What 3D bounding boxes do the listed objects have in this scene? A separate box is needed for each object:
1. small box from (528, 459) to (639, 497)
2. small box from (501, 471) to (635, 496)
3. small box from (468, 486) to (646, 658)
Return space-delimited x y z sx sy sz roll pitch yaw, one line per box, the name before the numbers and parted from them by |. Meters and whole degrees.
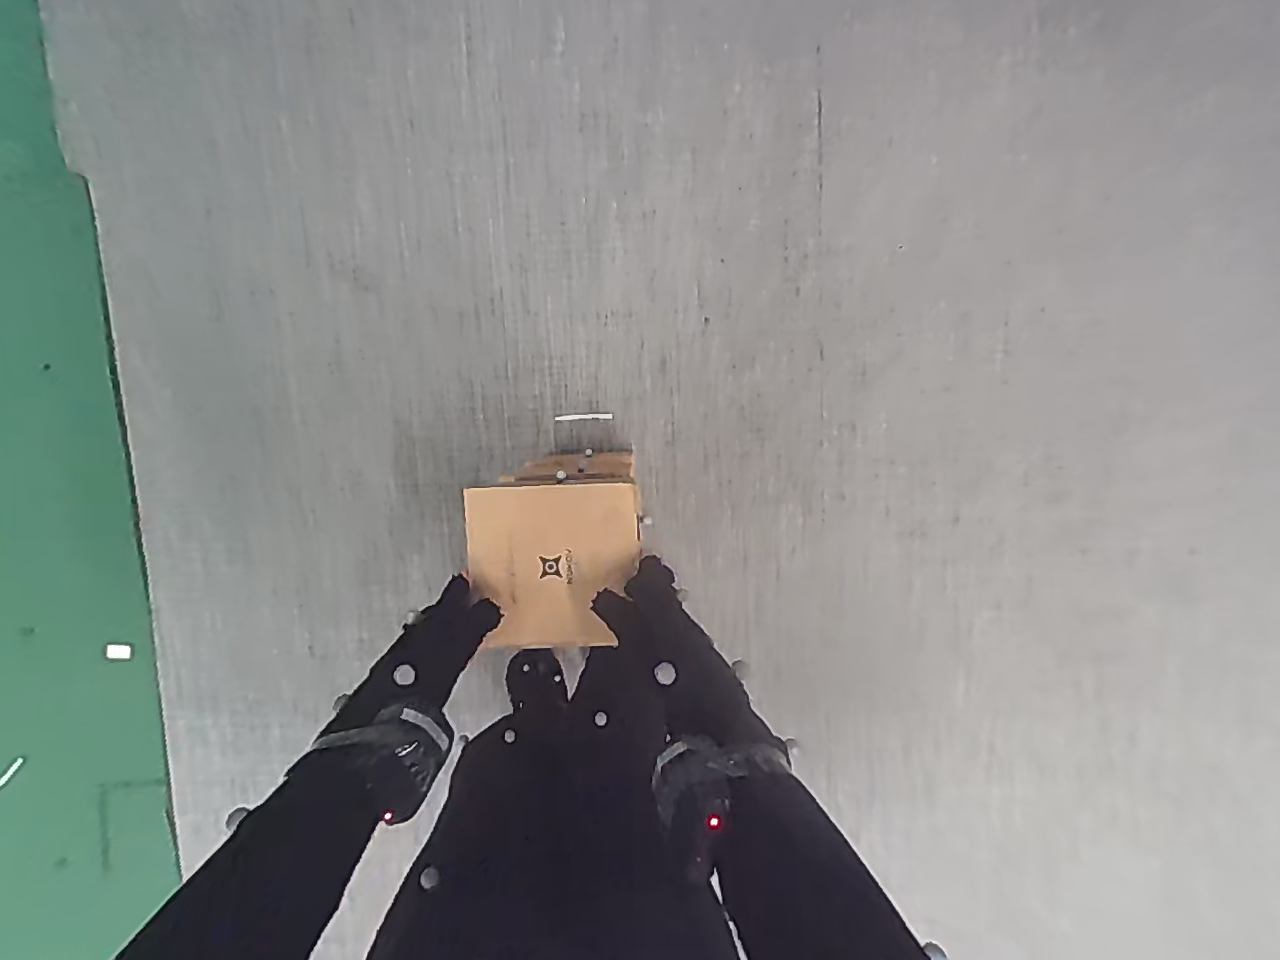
small box | -0.089 0.052 0.962 0.179 0.176 0.168 -3 95 3
small box | -0.093 0.079 0.803 0.179 0.176 0.168 -4 96 2
small box | -0.084 0.094 0.627 0.179 0.176 0.168 -3 91 1
